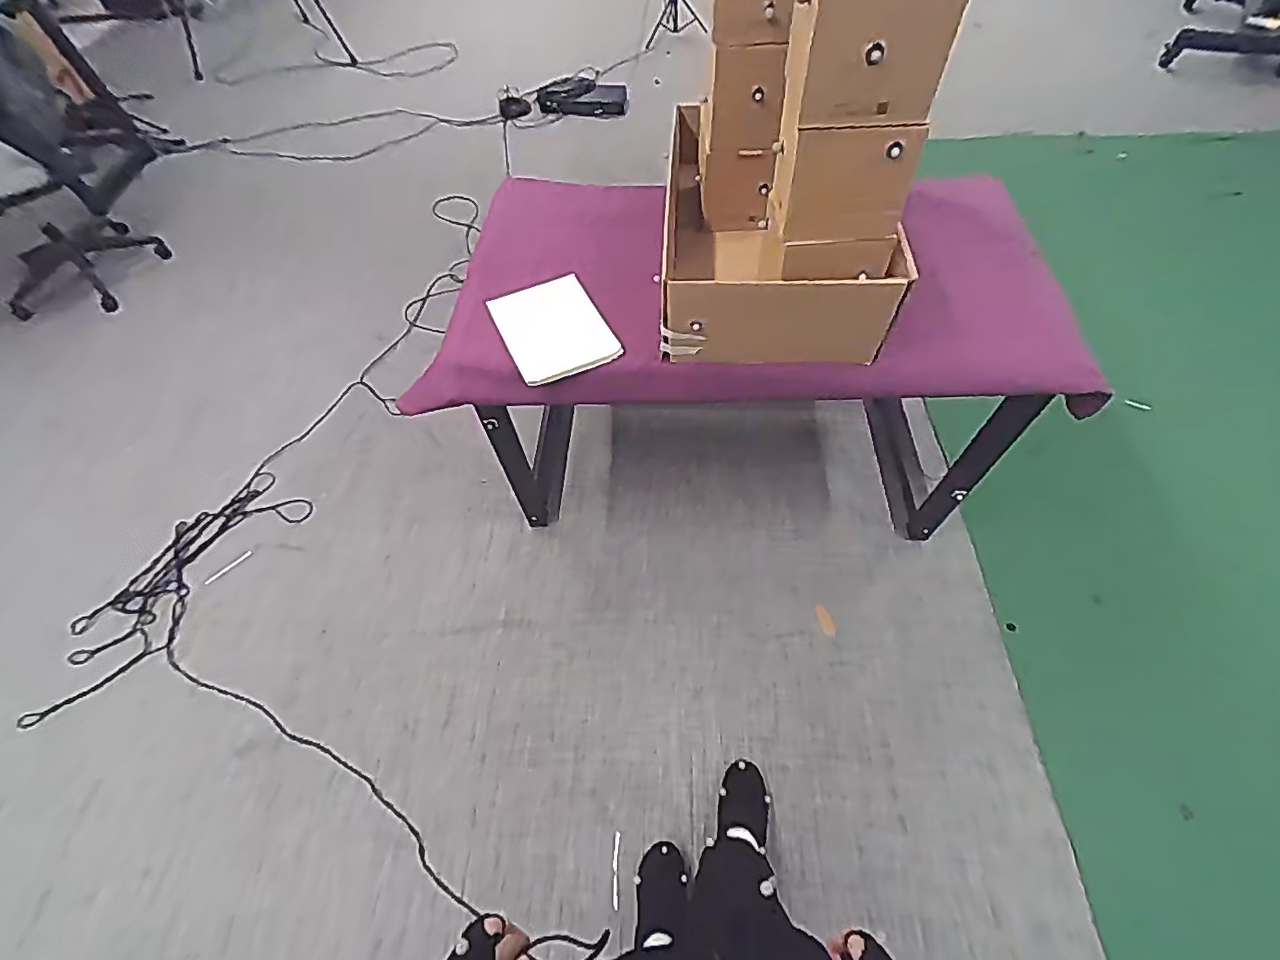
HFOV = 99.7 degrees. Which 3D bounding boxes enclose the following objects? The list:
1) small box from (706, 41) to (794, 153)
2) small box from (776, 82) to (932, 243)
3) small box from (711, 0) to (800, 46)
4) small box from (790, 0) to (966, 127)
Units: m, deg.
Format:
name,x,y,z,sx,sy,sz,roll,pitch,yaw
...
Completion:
name,x,y,z,sx,sy,sz,roll,pitch,yaw
small box,0.217,-0.723,0.985,0.179,0.176,0.168,-1,58,2
small box,0.307,-0.481,0.822,0.179,0.176,0.168,2,56,4
small box,0.209,-0.813,0.848,0.179,0.176,0.168,2,58,3
small box,0.292,-0.573,0.685,0.168,0.176,0.179,2,56,4
